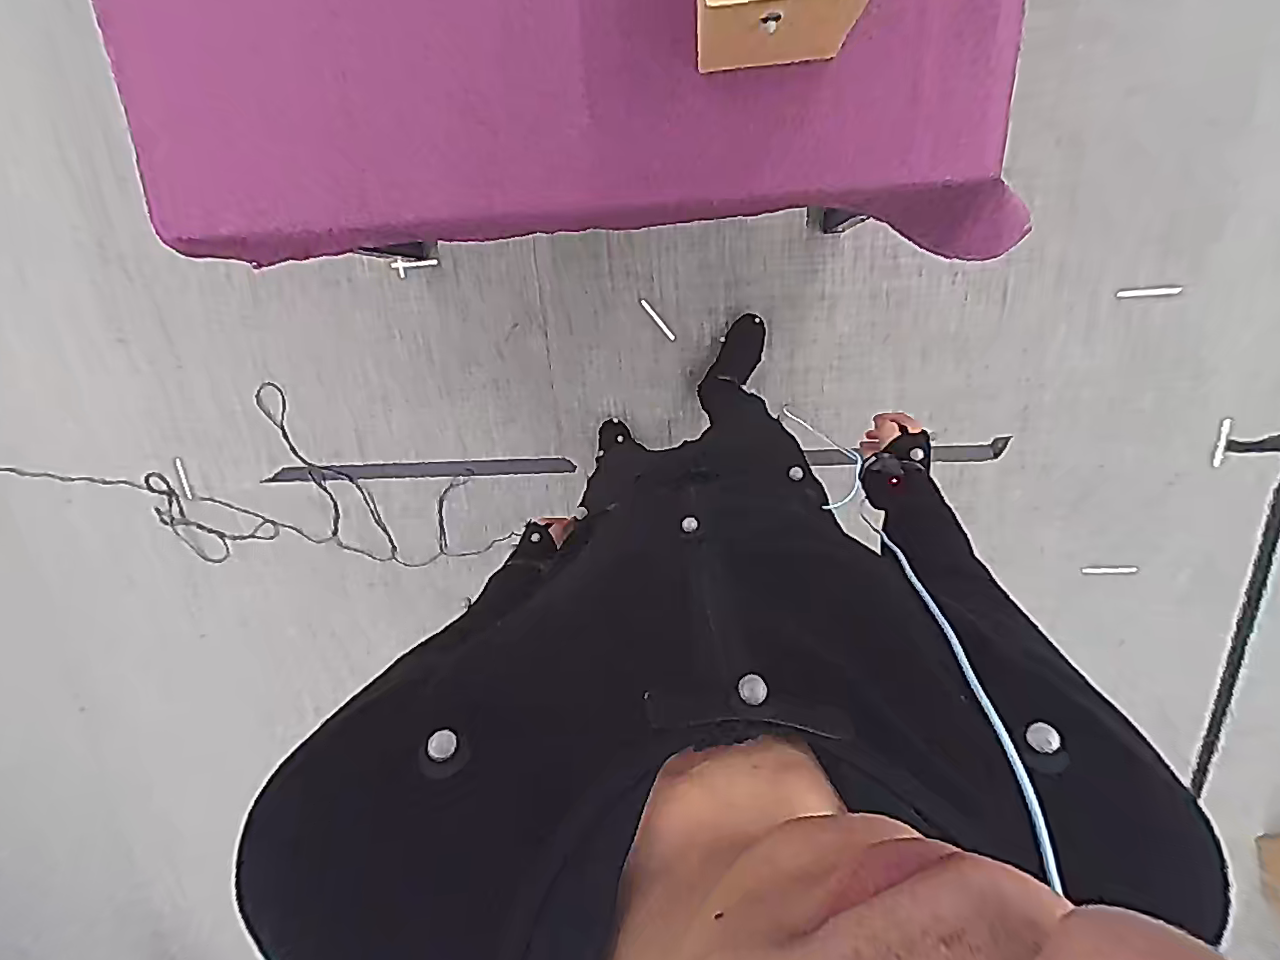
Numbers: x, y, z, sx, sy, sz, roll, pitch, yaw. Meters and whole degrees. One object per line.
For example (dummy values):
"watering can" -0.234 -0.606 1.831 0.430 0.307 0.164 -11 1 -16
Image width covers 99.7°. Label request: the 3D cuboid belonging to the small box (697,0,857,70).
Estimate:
"small box" 0.151 -0.590 0.601 0.179 0.176 0.168 -3 107 5
